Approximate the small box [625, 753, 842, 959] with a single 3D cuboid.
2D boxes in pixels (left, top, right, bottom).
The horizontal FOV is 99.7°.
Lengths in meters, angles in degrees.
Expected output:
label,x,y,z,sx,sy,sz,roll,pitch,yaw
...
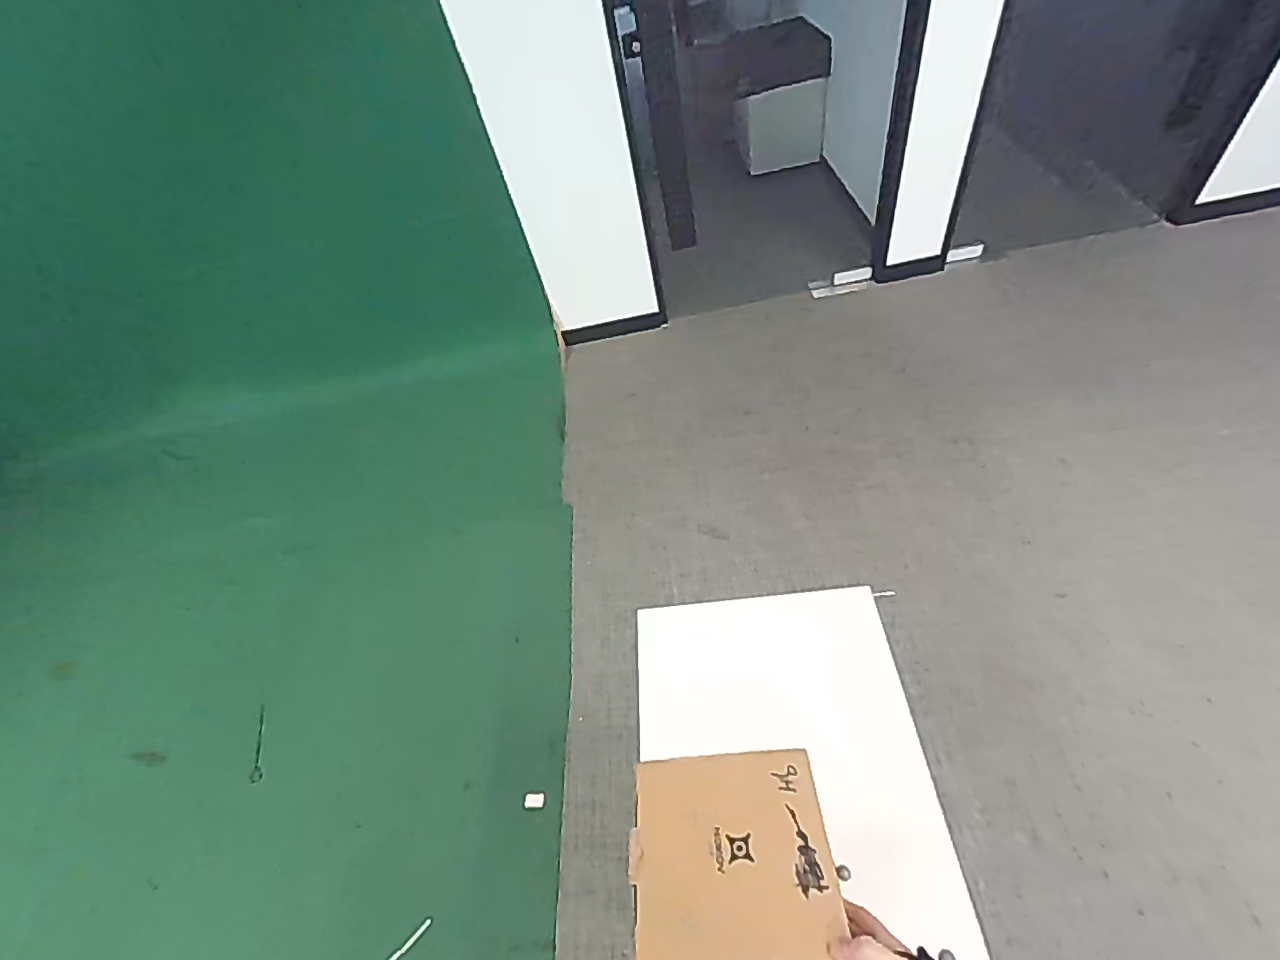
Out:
label,x,y,z,sx,sy,sz,roll,pitch,yaw
small box,0.089,0.397,0.536,0.179,0.176,0.168,-8,38,7
